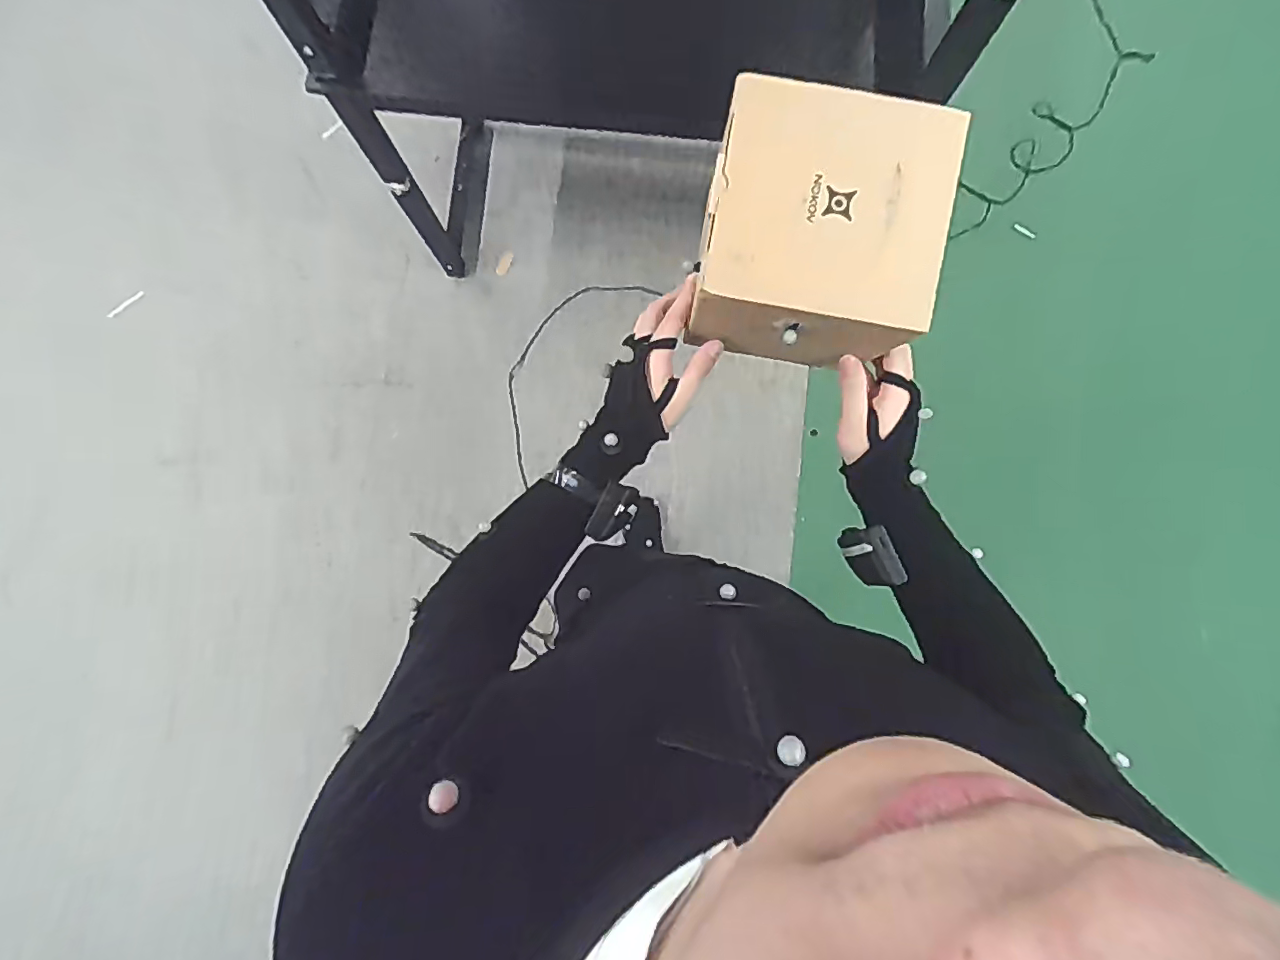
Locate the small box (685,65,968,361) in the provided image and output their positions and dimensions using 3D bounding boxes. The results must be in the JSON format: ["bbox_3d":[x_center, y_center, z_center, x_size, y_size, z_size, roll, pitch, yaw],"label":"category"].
[{"bbox_3d":[0.140,-0.210,0.476,0.179,0.176,0.168,11,92,0],"label":"small box"}]
